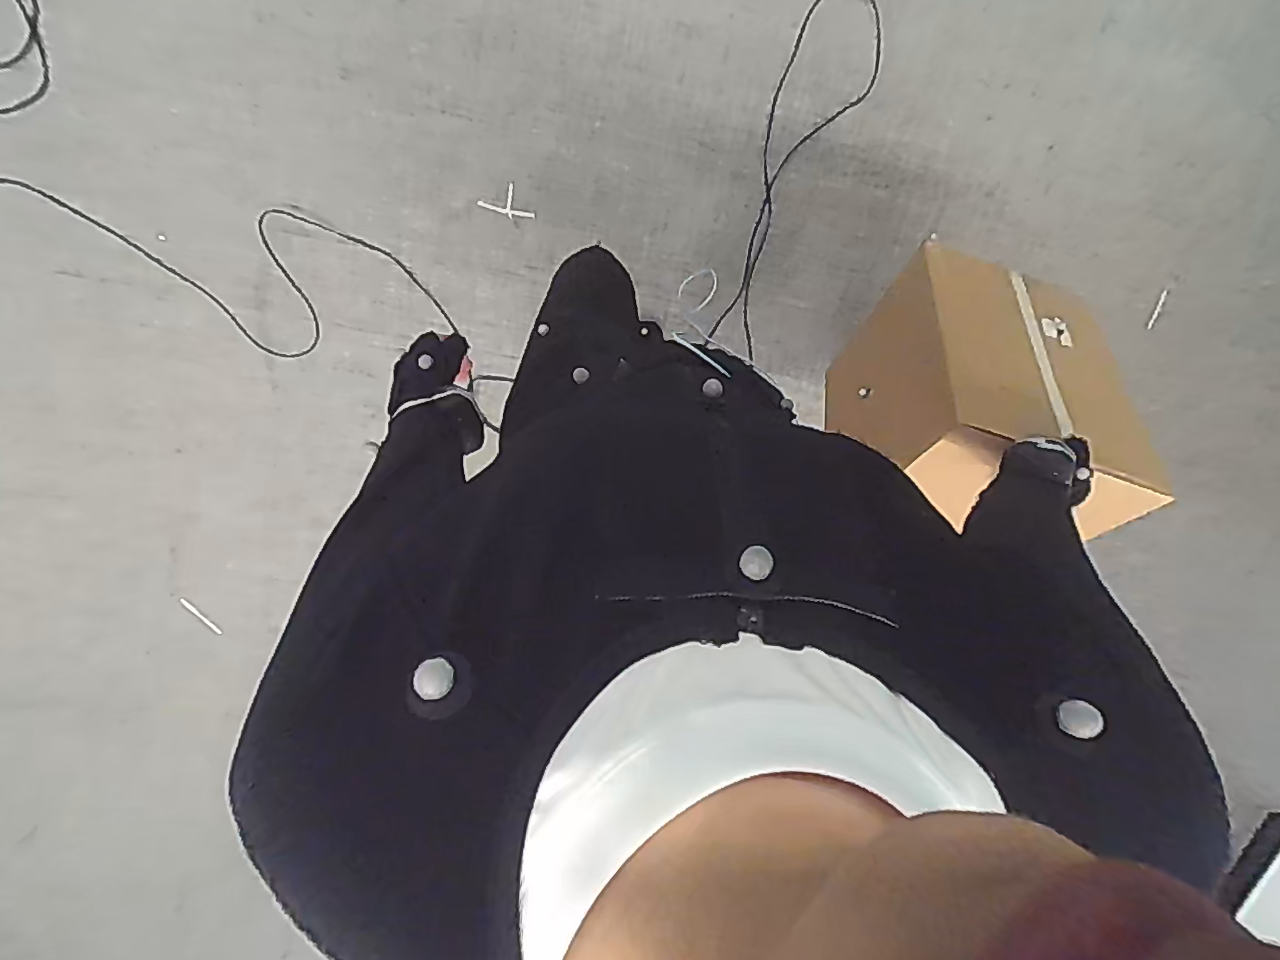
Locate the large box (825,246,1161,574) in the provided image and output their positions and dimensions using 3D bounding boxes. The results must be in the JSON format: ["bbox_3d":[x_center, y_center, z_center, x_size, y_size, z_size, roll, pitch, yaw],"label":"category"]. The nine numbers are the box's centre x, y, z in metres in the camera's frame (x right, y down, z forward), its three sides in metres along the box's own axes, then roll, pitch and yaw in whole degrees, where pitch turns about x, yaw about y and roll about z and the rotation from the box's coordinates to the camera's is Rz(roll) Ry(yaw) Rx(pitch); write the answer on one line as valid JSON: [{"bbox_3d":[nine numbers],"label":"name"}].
[{"bbox_3d":[0.528,-0.107,0.914,0.320,0.408,0.320,17,146,-6],"label":"large box"}]
